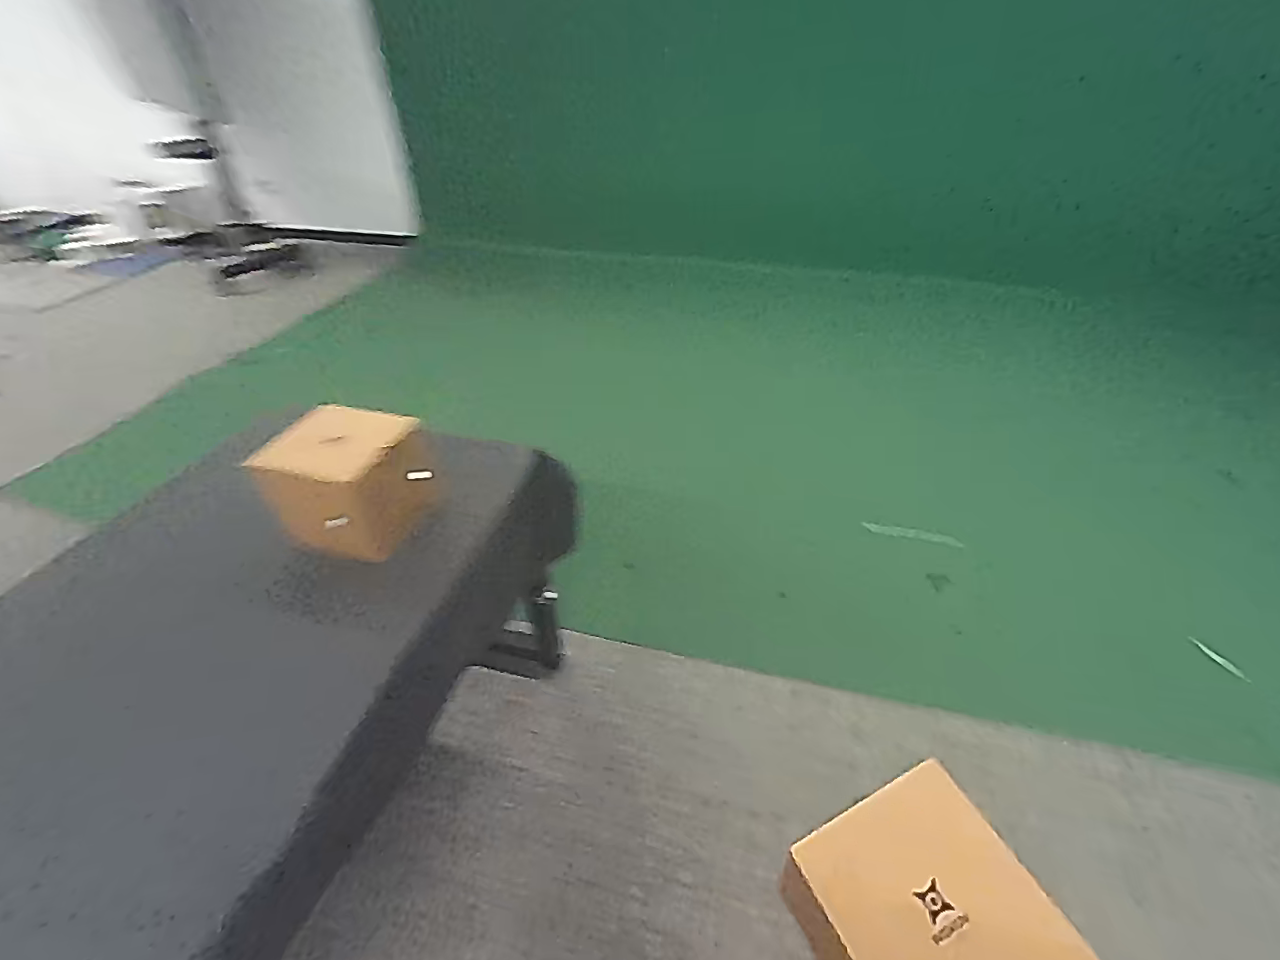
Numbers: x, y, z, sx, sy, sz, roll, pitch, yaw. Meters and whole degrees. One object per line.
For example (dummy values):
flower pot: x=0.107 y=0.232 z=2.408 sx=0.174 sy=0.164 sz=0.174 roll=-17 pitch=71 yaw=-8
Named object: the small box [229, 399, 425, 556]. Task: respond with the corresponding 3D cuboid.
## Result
small box: x=-0.466 y=-0.003 z=0.841 sx=0.179 sy=0.176 sz=0.168 roll=8 pitch=40 yaw=12
